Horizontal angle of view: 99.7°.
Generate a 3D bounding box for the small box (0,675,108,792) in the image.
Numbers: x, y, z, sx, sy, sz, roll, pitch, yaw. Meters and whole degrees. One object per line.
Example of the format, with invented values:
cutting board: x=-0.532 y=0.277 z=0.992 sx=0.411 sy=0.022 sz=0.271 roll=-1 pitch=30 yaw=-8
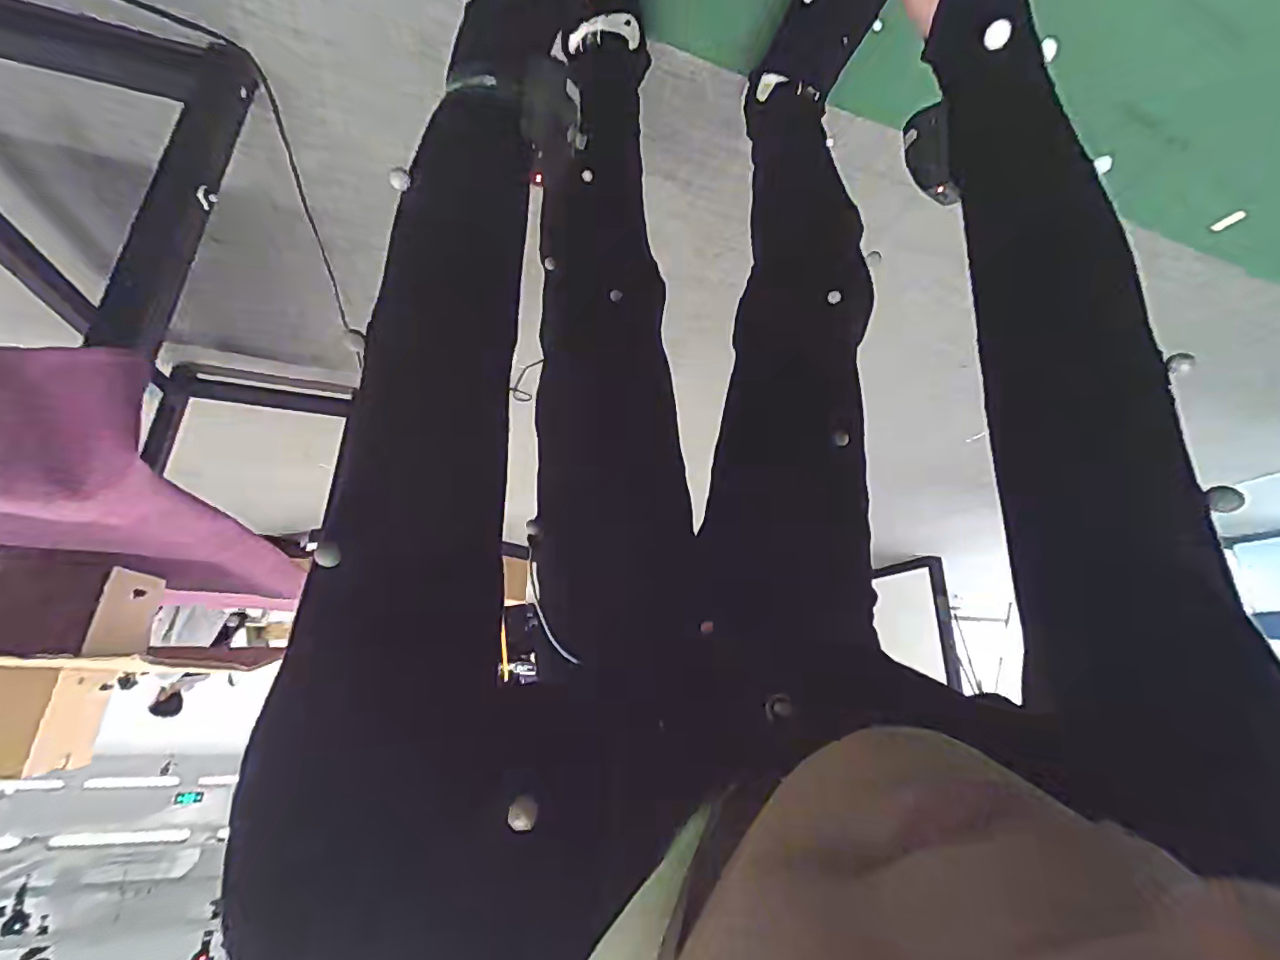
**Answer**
small box: x=-1.065 y=0.423 z=0.917 sx=0.179 sy=0.176 sz=0.168 roll=7 pitch=157 yaw=-13
